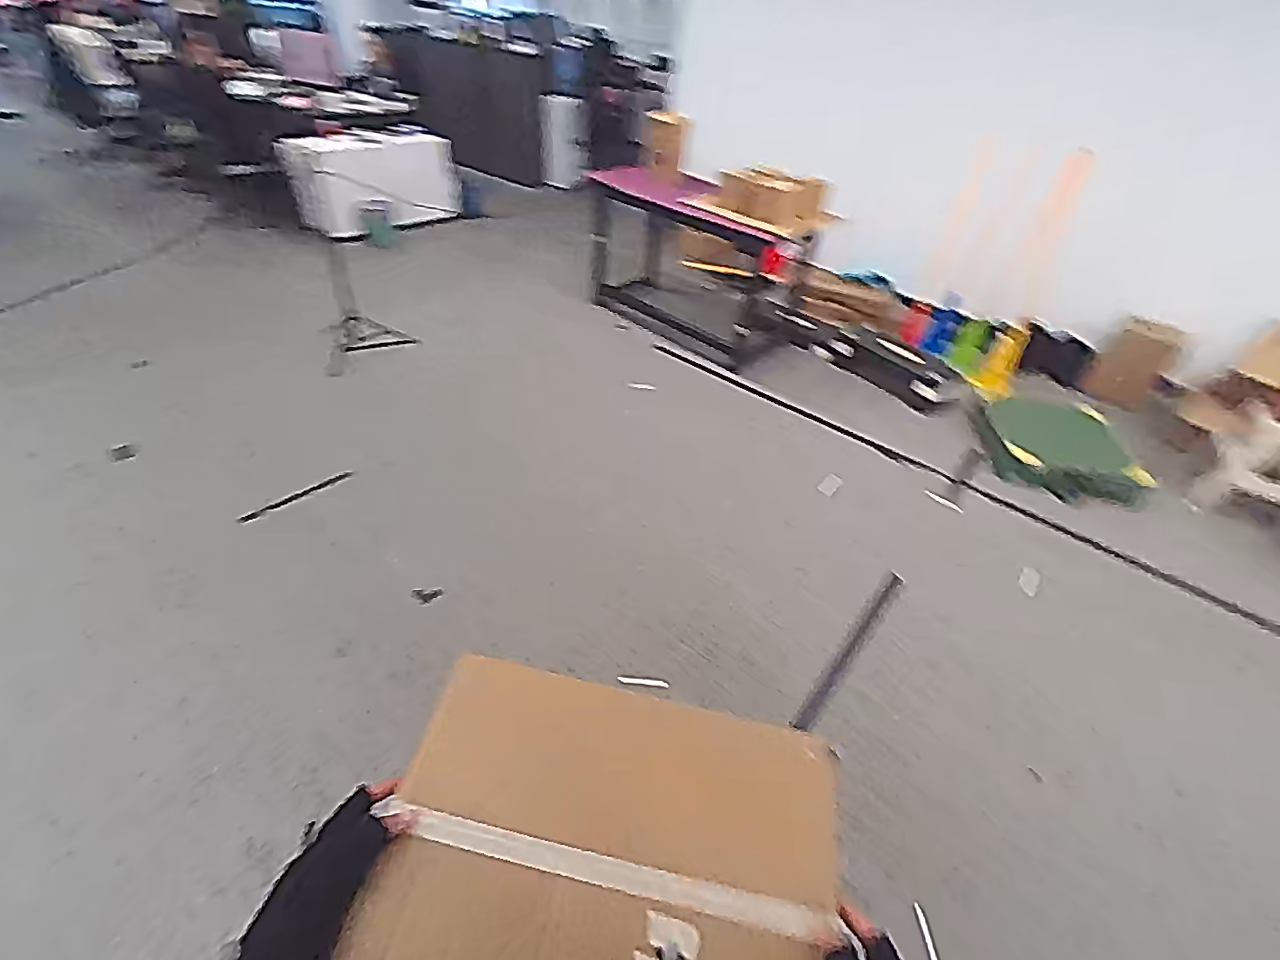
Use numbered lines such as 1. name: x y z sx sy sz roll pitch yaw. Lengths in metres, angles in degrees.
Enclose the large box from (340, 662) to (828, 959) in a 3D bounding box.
1. large box: -0.040 0.446 0.601 0.408 0.320 0.320 11 49 5
